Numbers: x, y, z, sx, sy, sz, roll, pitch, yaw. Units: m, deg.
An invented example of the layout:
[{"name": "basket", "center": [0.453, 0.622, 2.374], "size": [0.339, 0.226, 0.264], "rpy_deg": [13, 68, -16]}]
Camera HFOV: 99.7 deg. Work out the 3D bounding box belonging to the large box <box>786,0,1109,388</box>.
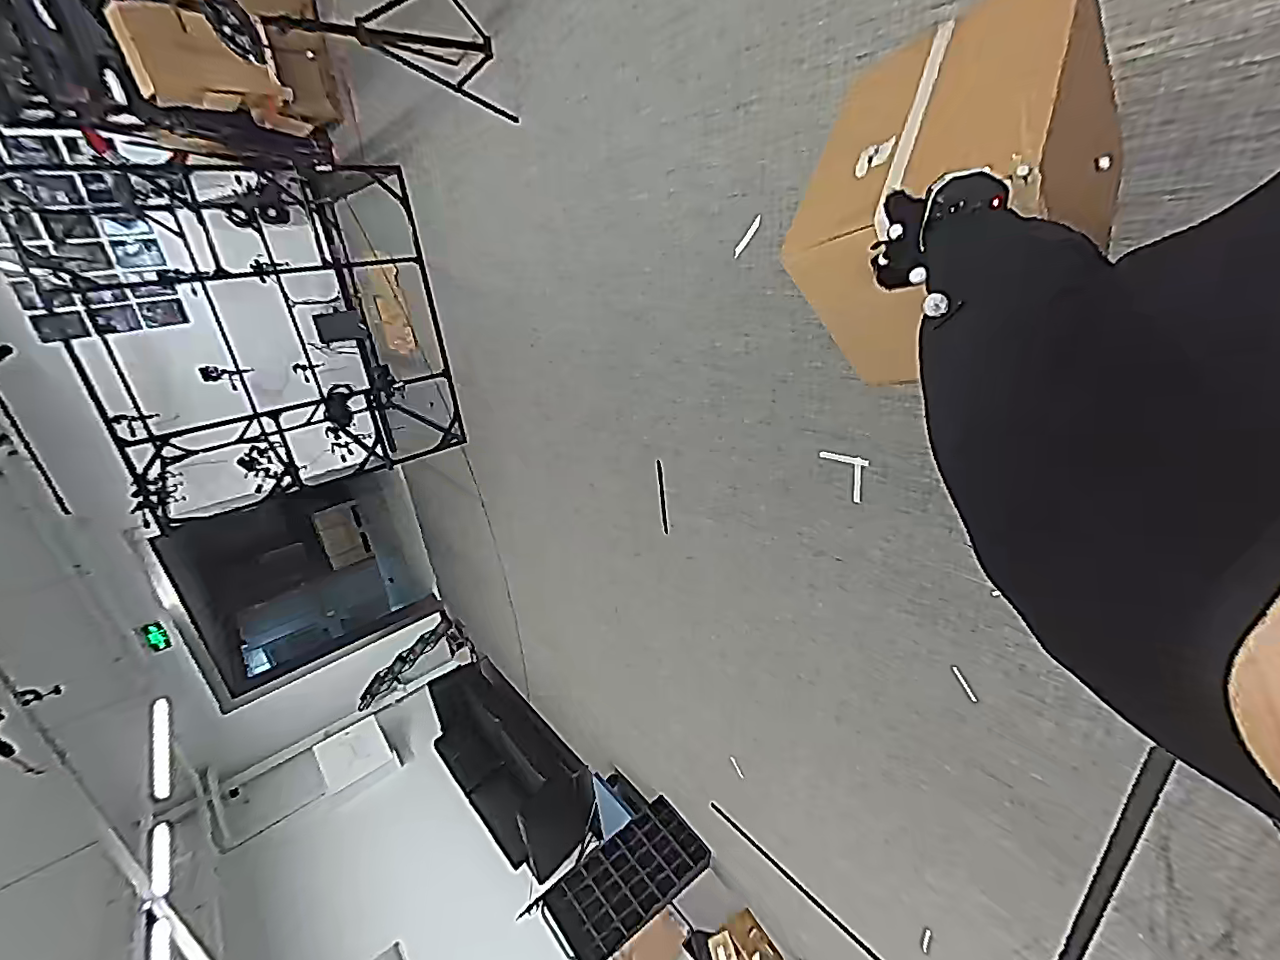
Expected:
[{"name": "large box", "center": [0.482, -0.402, 0.824], "size": [0.320, 0.408, 0.320], "rpy_deg": [37, 158, -34]}]
